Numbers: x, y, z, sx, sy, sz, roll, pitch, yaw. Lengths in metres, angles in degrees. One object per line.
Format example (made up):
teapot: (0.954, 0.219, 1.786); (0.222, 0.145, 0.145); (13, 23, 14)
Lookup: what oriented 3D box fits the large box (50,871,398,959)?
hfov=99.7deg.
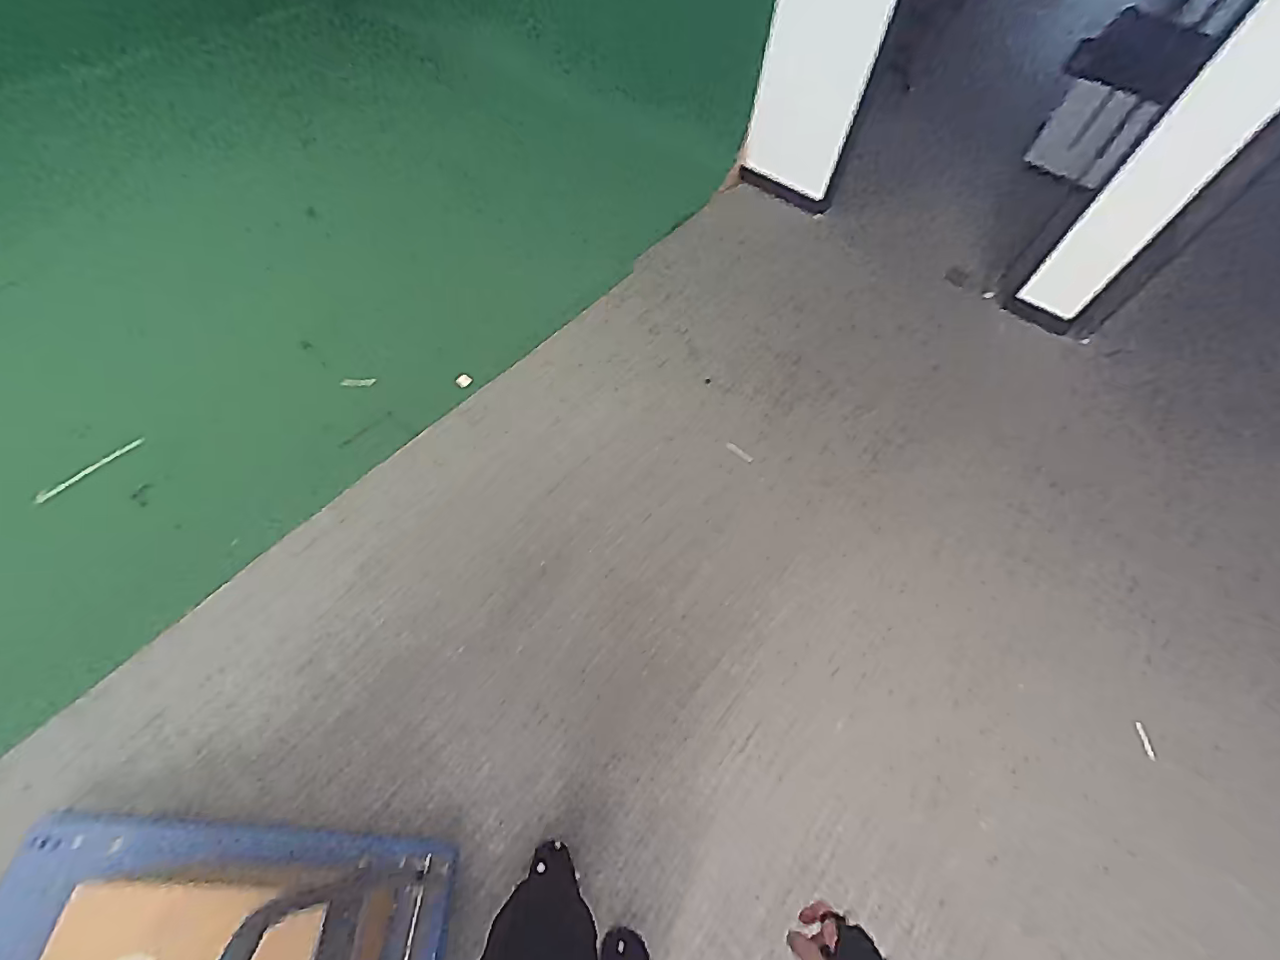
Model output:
large box: (-0.680, 0.854, 0.893); (0.408, 0.320, 0.320); (4, 58, -2)
